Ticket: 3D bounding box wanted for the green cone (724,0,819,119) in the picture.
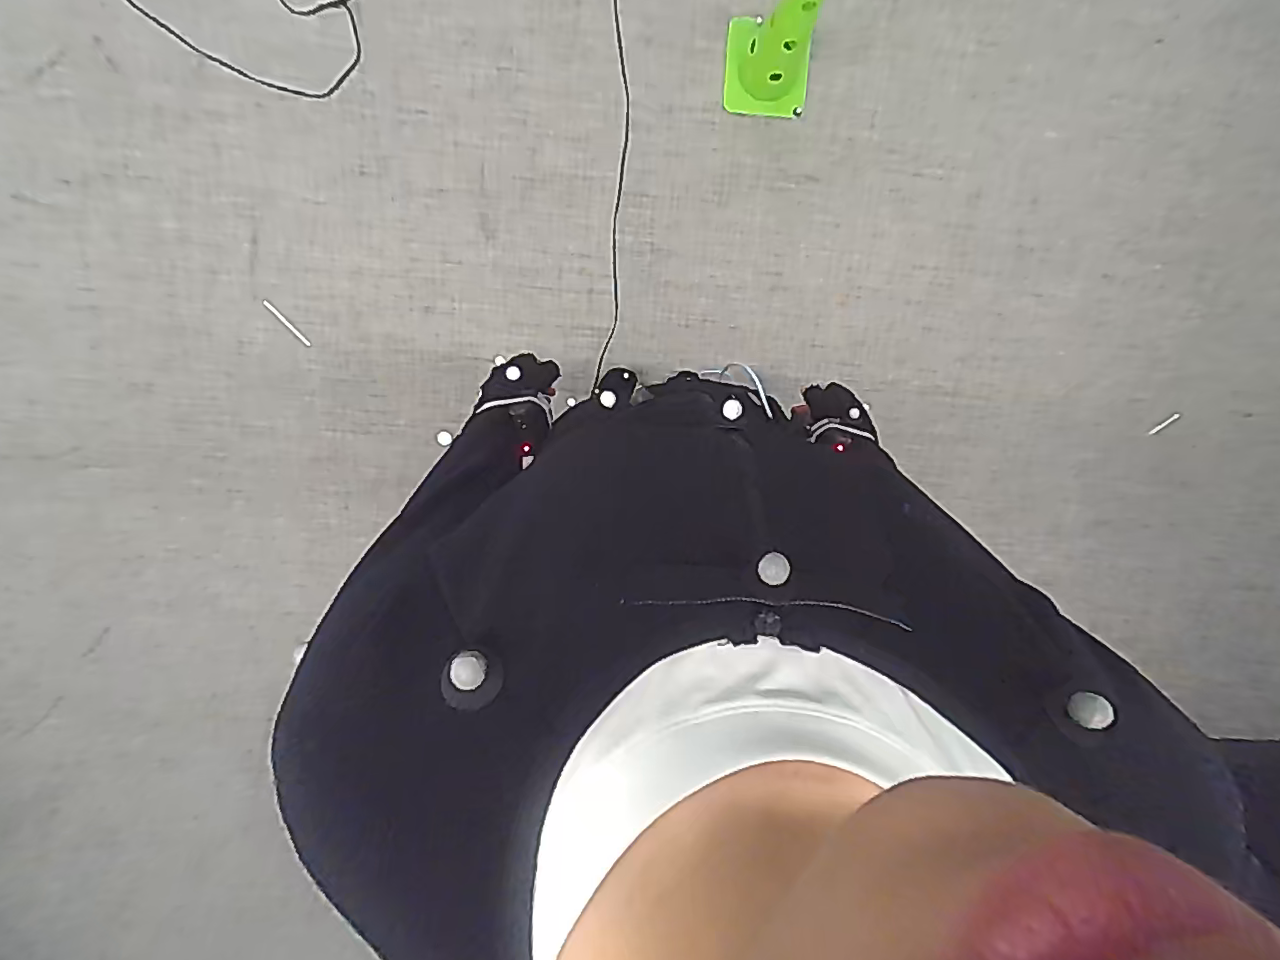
[{"bbox_3d":[0.312,-0.946,1.125,0.202,0.368,0.200,2,101,-2],"label":"green cone"}]
